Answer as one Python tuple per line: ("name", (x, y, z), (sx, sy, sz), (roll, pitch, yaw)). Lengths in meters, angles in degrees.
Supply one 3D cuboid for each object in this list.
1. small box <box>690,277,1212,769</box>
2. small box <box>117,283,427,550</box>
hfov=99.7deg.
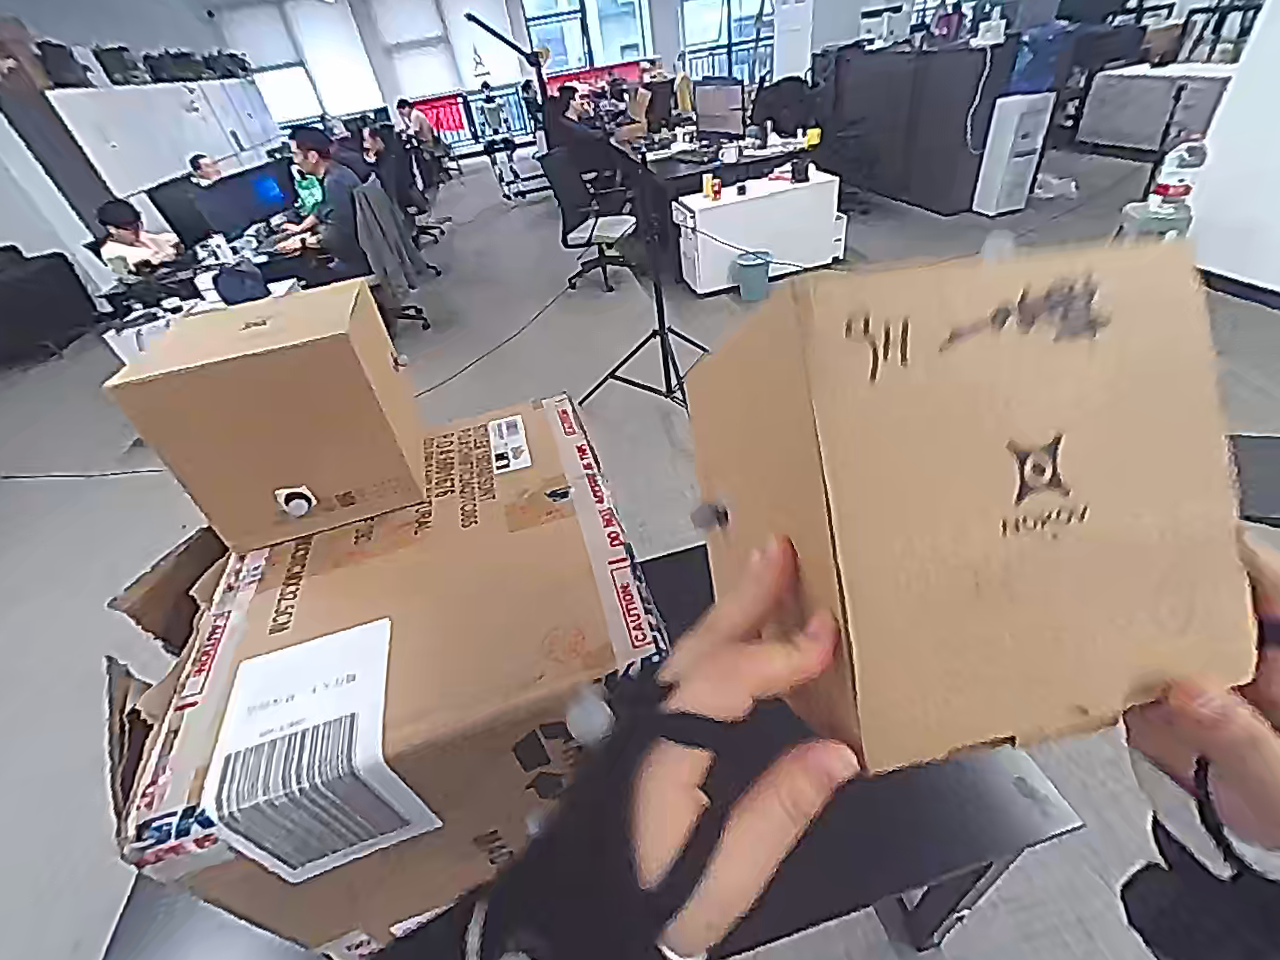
("small box", (0.131, 0.014, 0.290), (0.168, 0.179, 0.176), (-8, 0, -8))
("small box", (-0.313, -0.065, 0.510), (0.168, 0.176, 0.179), (-18, 38, -11))
